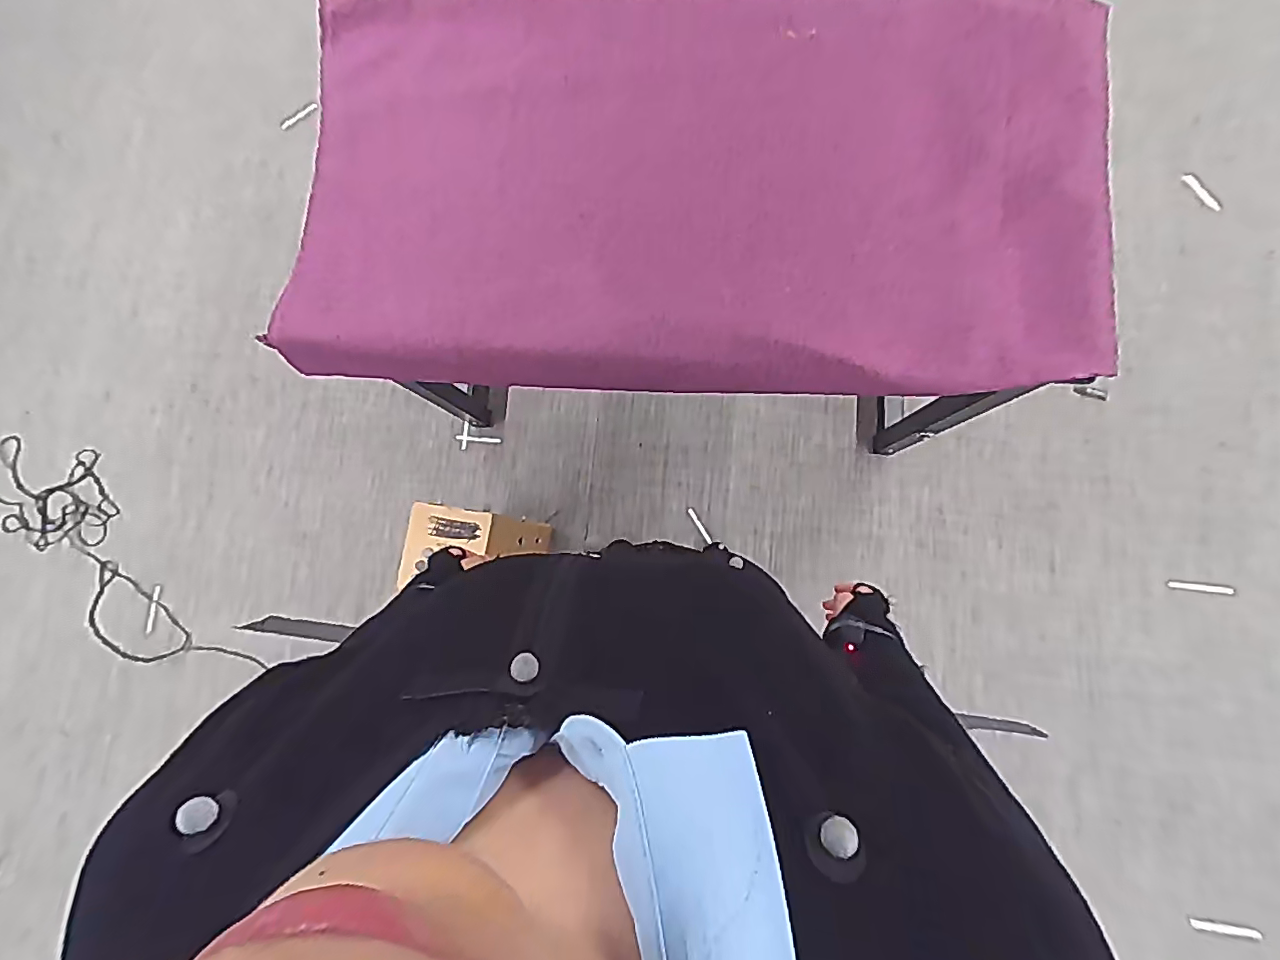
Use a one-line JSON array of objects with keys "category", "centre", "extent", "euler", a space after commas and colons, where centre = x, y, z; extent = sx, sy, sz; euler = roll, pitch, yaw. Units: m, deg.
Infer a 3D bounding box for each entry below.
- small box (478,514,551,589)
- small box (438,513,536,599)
[{"category": "small box", "centre": [-0.350, 0.195, 1.452], "extent": [0.168, 0.176, 0.179], "euler": [11, 84, 5]}, {"category": "small box", "centre": [-0.355, 0.179, 1.288], "extent": [0.168, 0.176, 0.179], "euler": [6, 84, 5]}]
